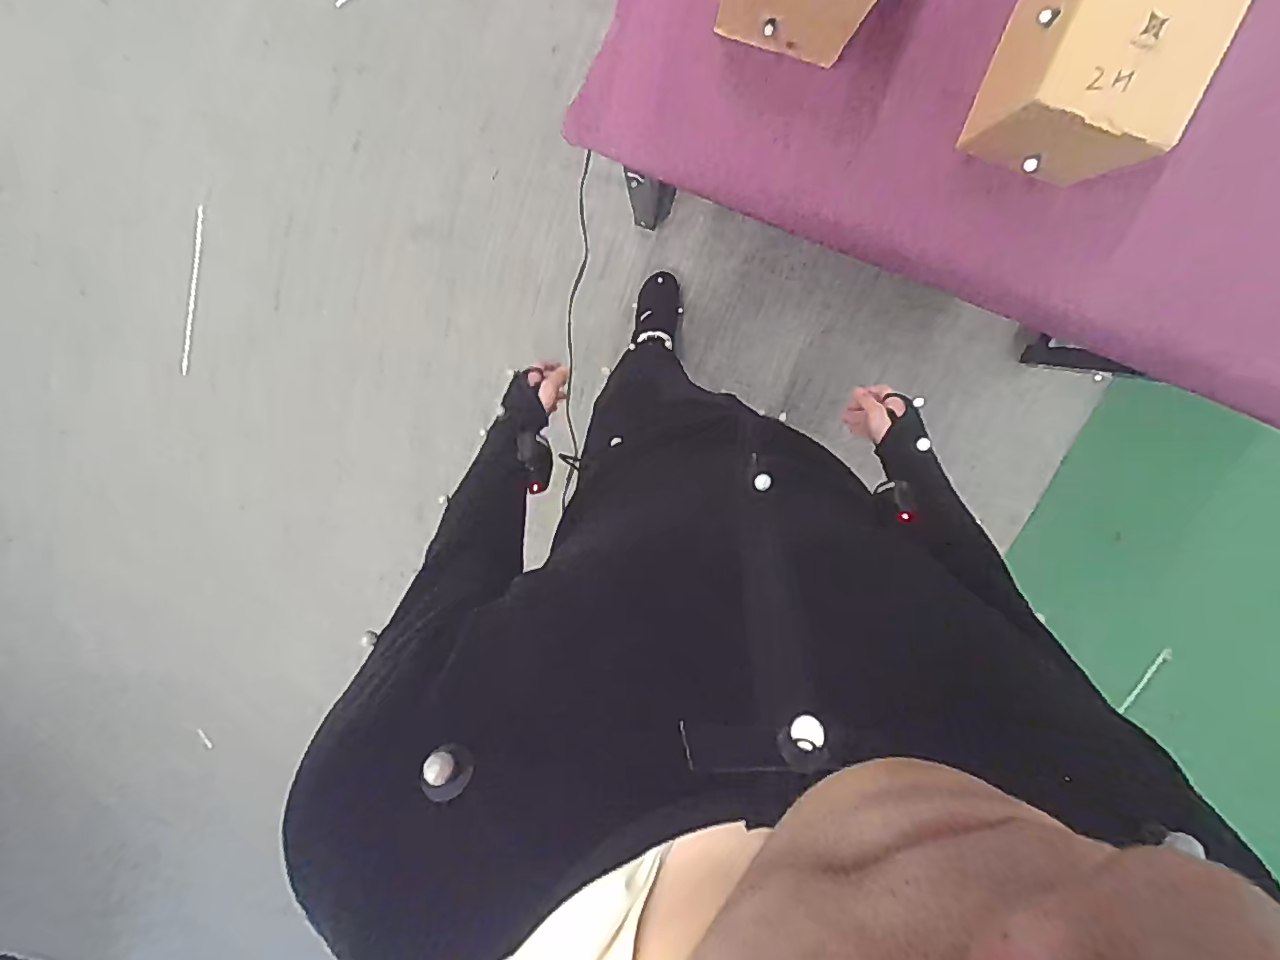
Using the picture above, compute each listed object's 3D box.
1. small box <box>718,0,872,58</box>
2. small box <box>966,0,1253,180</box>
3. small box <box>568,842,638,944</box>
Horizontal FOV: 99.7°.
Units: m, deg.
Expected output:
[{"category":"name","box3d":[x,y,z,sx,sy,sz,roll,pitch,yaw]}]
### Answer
[{"category":"small box","box3d":[0.192,-0.628,0.604,0.168,0.176,0.179,15,107,-3]},{"category":"small box","box3d":[0.527,-0.486,0.631,0.168,0.176,0.179,18,106,-3]},{"category":"small box","box3d":[-0.109,1.284,1.687,0.168,0.176,0.179,21,107,-6]}]
